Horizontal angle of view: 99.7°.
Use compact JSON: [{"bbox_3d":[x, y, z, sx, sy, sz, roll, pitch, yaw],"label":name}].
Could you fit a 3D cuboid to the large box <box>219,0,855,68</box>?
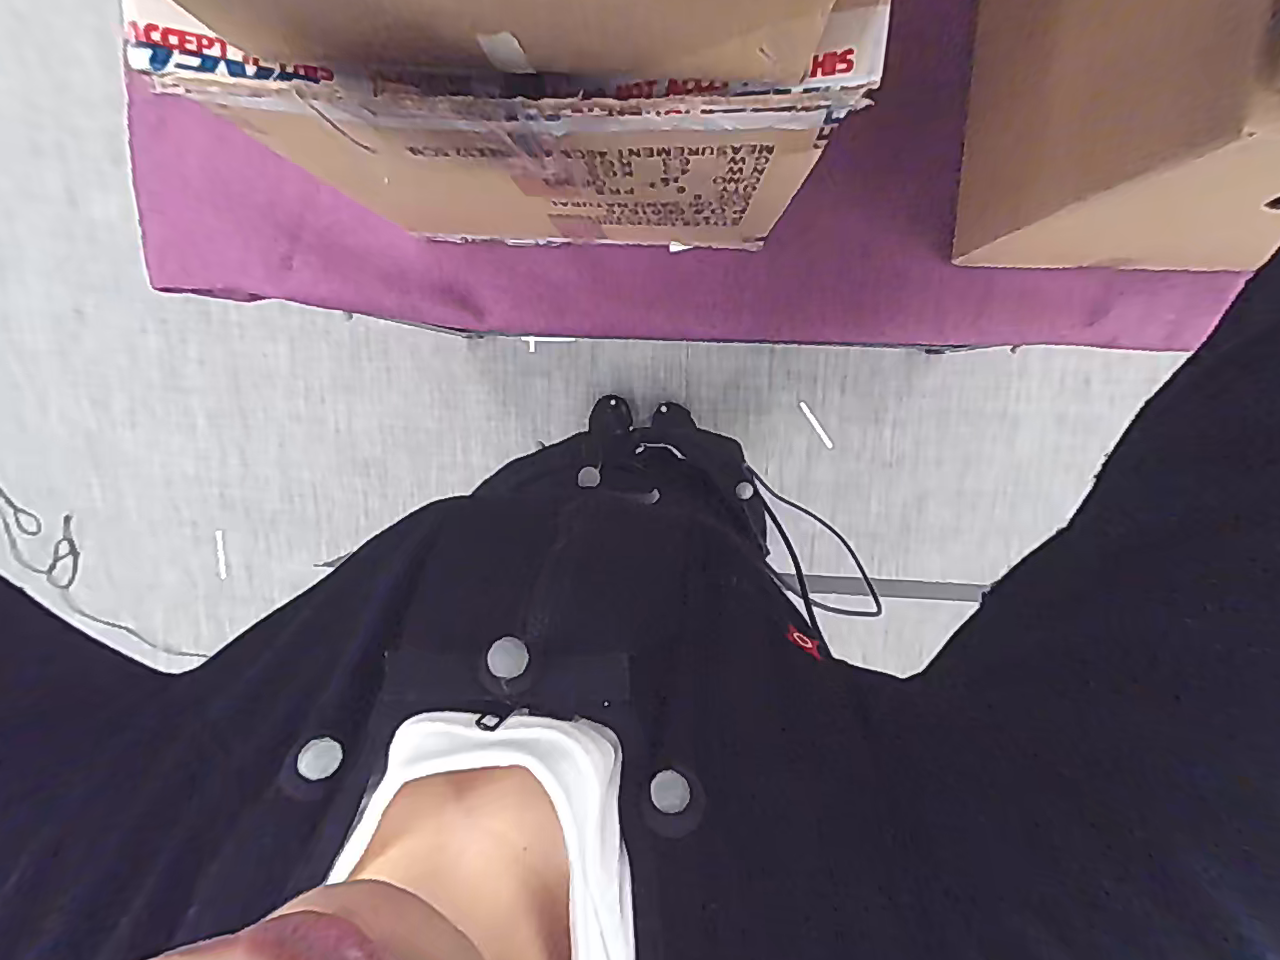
[{"bbox_3d":[-0.051,-0.391,0.107,0.320,0.320,0.408,4,101,4],"label":"large box"}]
